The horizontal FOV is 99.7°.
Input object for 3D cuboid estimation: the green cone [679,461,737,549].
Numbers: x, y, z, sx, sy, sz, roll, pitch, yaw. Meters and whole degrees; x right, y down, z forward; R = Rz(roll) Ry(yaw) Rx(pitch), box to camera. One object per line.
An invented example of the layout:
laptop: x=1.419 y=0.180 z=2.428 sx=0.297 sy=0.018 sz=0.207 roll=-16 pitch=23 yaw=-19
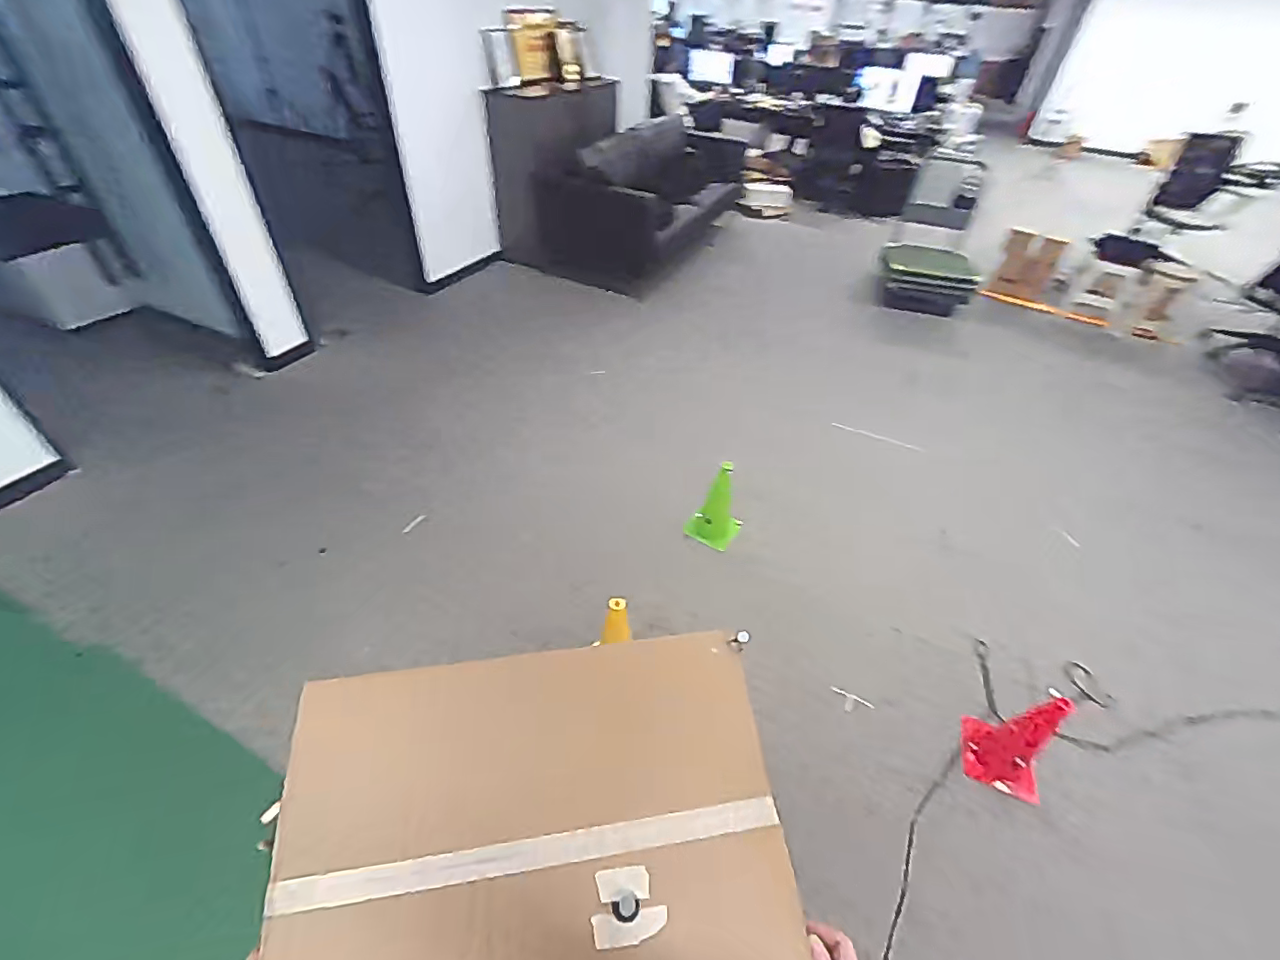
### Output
green cone: x=0.295 y=0.065 z=2.163 sx=0.200 sy=0.368 sz=0.202 roll=25 pitch=47 yaw=21

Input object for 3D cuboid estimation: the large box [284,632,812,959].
large box: x=-0.087 y=0.378 z=0.578 sx=0.408 sy=0.320 sz=0.320 roll=-4 pitch=61 yaw=-8
